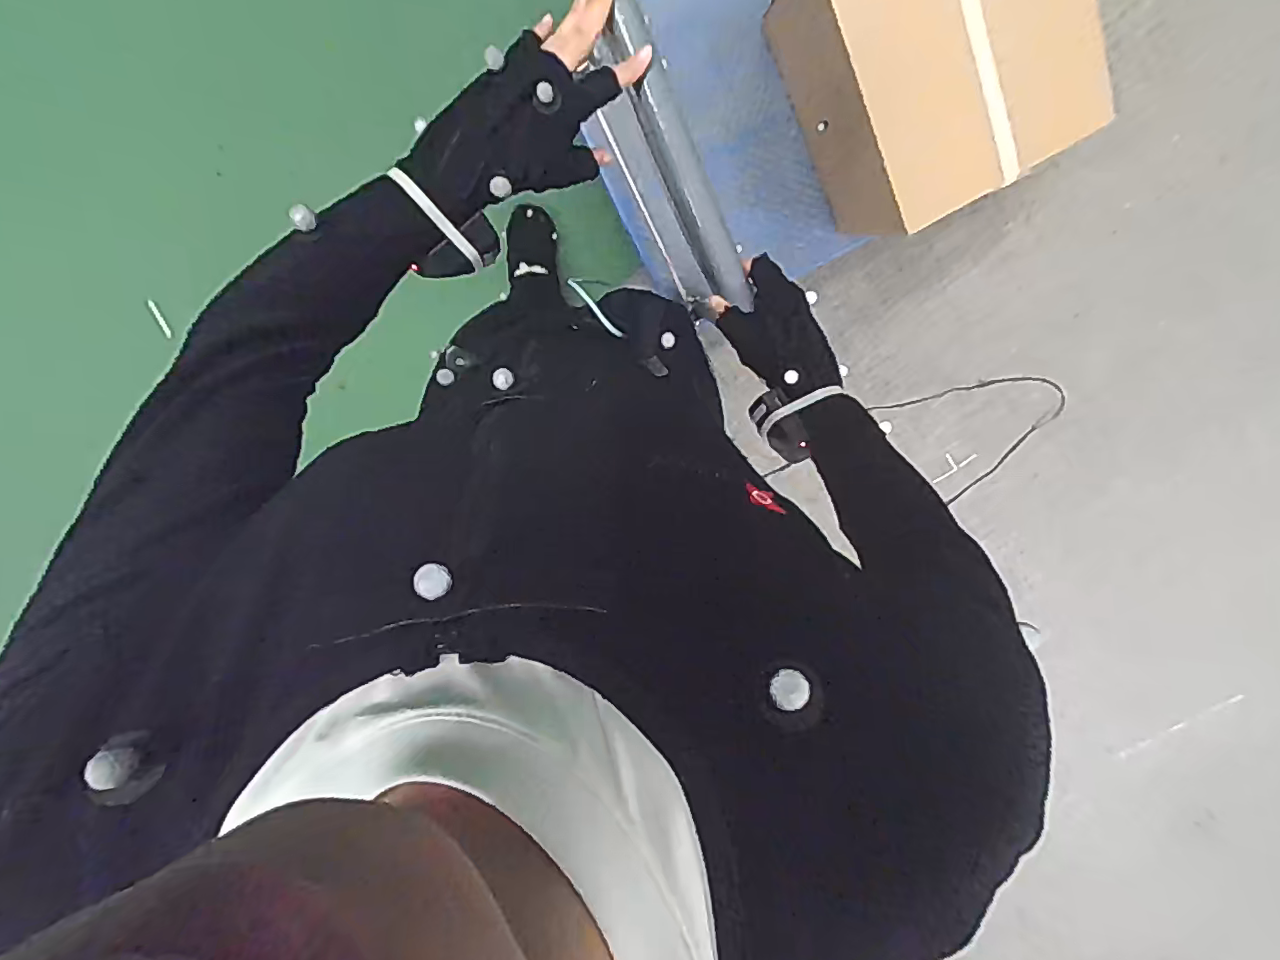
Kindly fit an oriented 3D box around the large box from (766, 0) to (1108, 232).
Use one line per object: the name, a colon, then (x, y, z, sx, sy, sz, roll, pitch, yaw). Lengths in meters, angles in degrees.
large box: (0.445, -0.669, 0.871, 0.320, 0.320, 0.408, -27, 112, 11)
